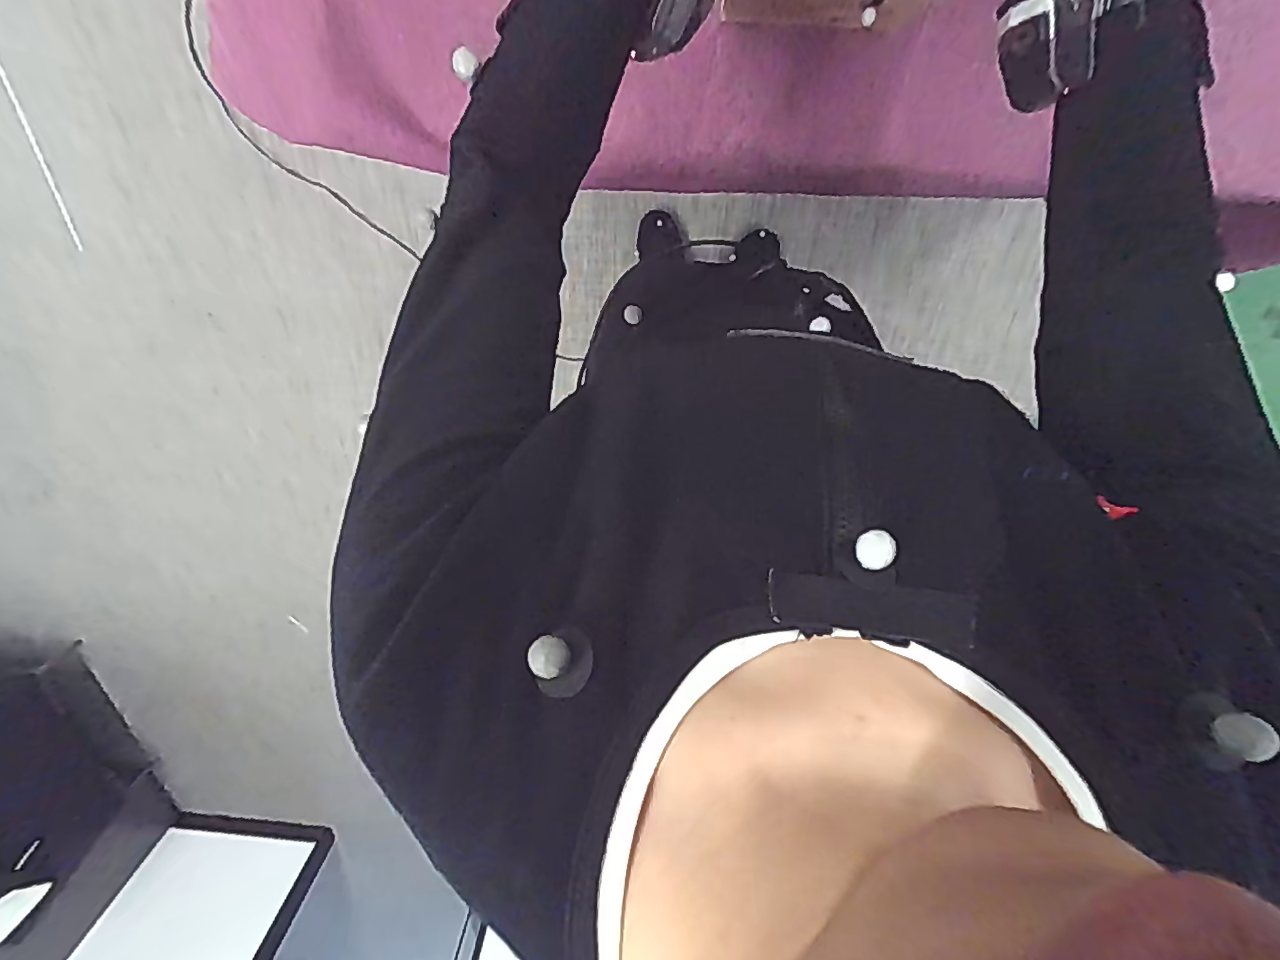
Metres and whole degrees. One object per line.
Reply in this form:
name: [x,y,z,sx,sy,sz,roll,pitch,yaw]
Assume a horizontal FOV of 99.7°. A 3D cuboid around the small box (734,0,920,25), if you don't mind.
small box: [0.159,-0.467,0.399,0.168,0.176,0.179,5,119,2]
